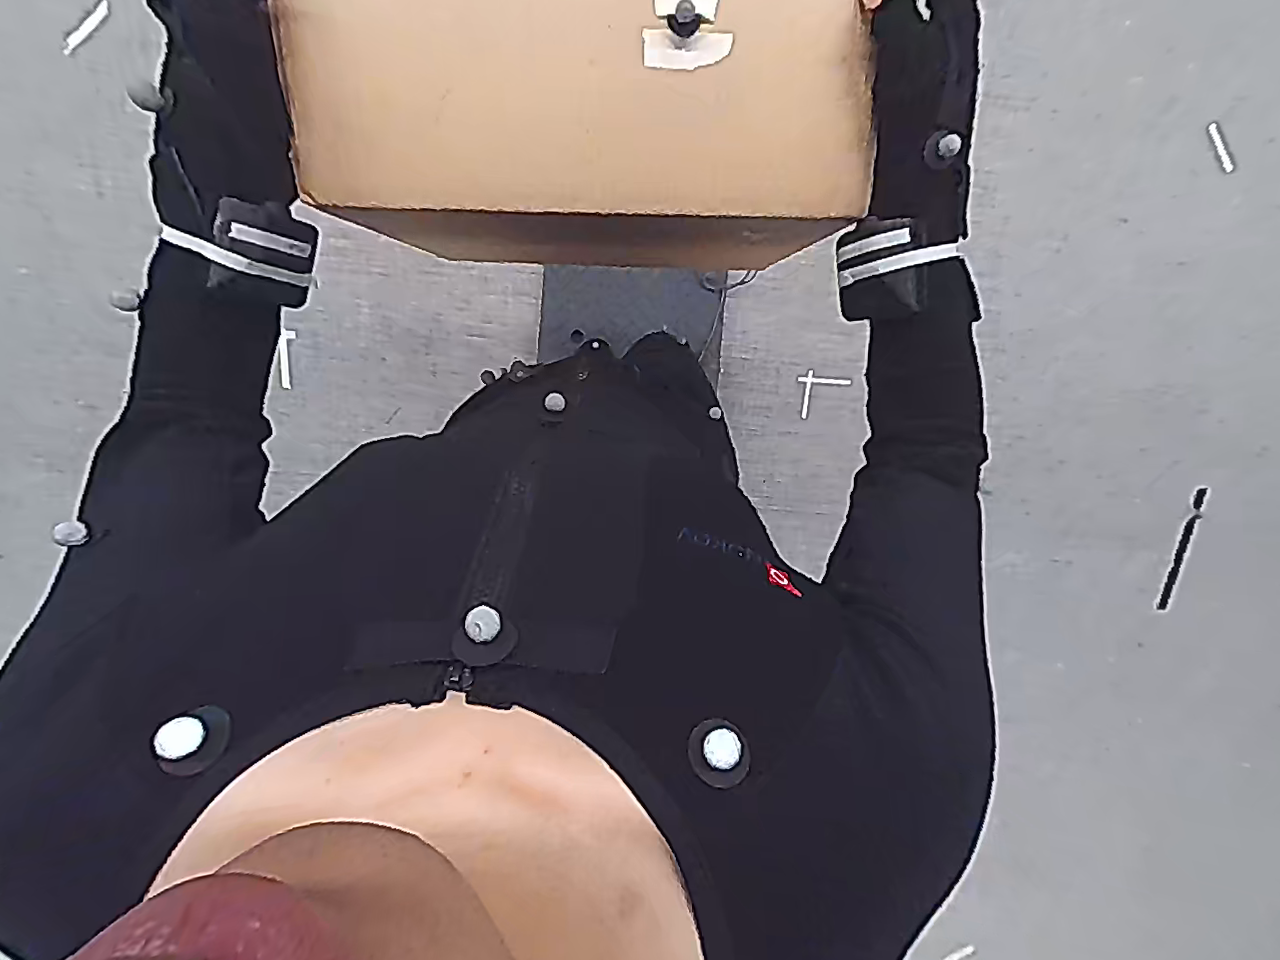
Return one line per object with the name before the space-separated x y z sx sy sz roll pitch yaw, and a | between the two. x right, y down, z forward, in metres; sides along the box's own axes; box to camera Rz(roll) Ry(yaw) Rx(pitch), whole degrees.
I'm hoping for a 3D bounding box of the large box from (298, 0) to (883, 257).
large box | -0.036 -0.394 0.502 0.408 0.320 0.320 1 106 -2
